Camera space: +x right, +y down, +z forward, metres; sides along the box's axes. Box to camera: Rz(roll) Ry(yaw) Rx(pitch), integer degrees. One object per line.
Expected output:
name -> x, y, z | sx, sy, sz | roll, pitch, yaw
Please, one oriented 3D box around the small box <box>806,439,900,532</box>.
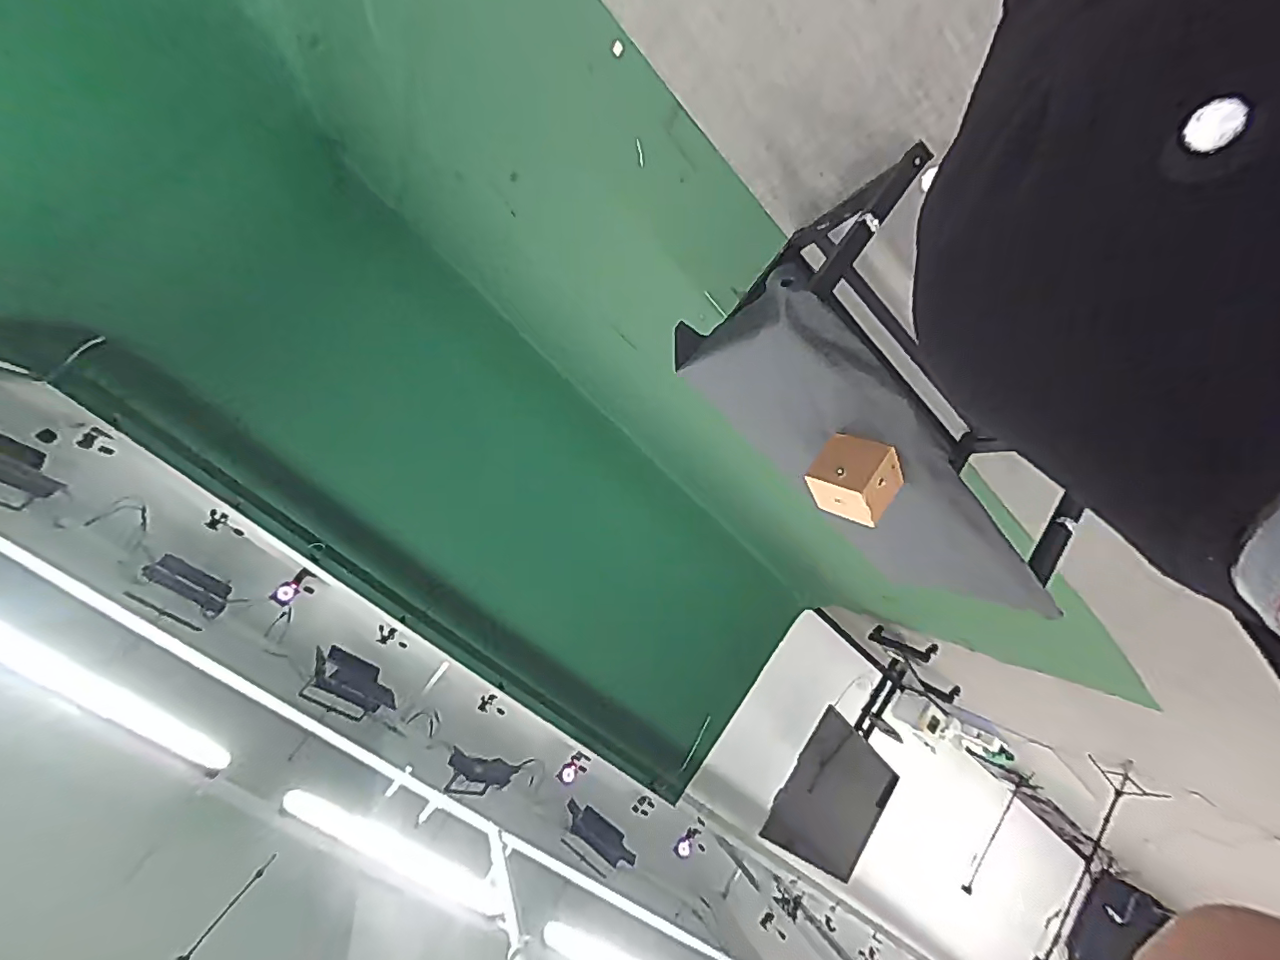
small box -> 0.596, 0.010, 1.495 | 0.179, 0.176, 0.168 | 25, 160, 47
